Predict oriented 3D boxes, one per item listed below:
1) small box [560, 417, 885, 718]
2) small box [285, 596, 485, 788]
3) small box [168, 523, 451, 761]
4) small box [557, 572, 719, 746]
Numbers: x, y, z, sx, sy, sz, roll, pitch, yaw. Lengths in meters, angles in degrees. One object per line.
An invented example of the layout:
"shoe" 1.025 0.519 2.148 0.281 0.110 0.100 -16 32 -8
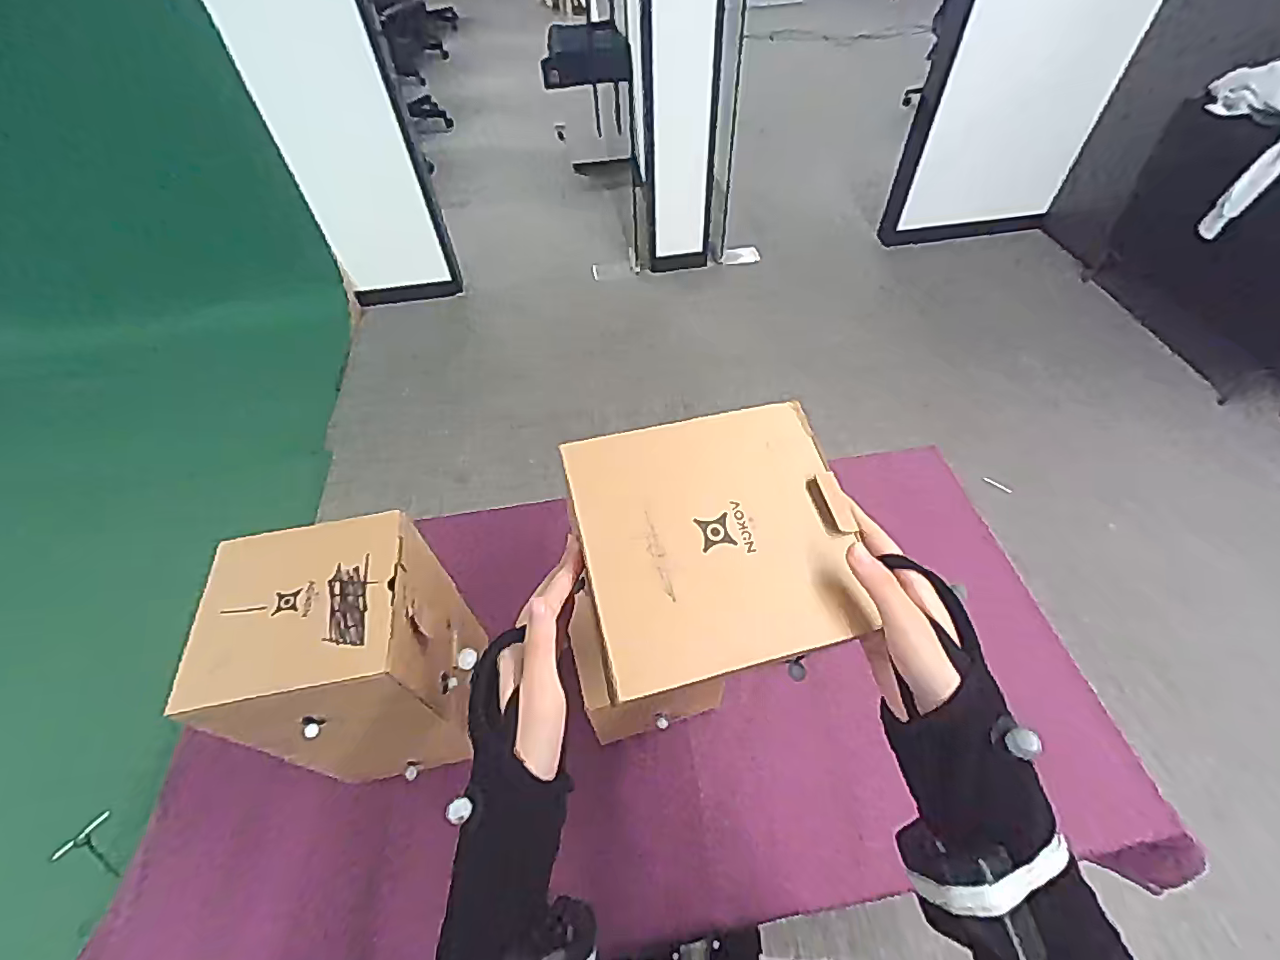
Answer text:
"small box" 0.042 0.075 0.415 0.179 0.176 0.168 -12 67 -8
"small box" -0.297 0.268 0.678 0.179 0.176 0.168 -10 52 -6
"small box" -0.302 0.168 0.548 0.179 0.176 0.168 -11 53 -4
"small box" -0.003 0.218 0.703 0.168 0.176 0.179 -15 54 -7
